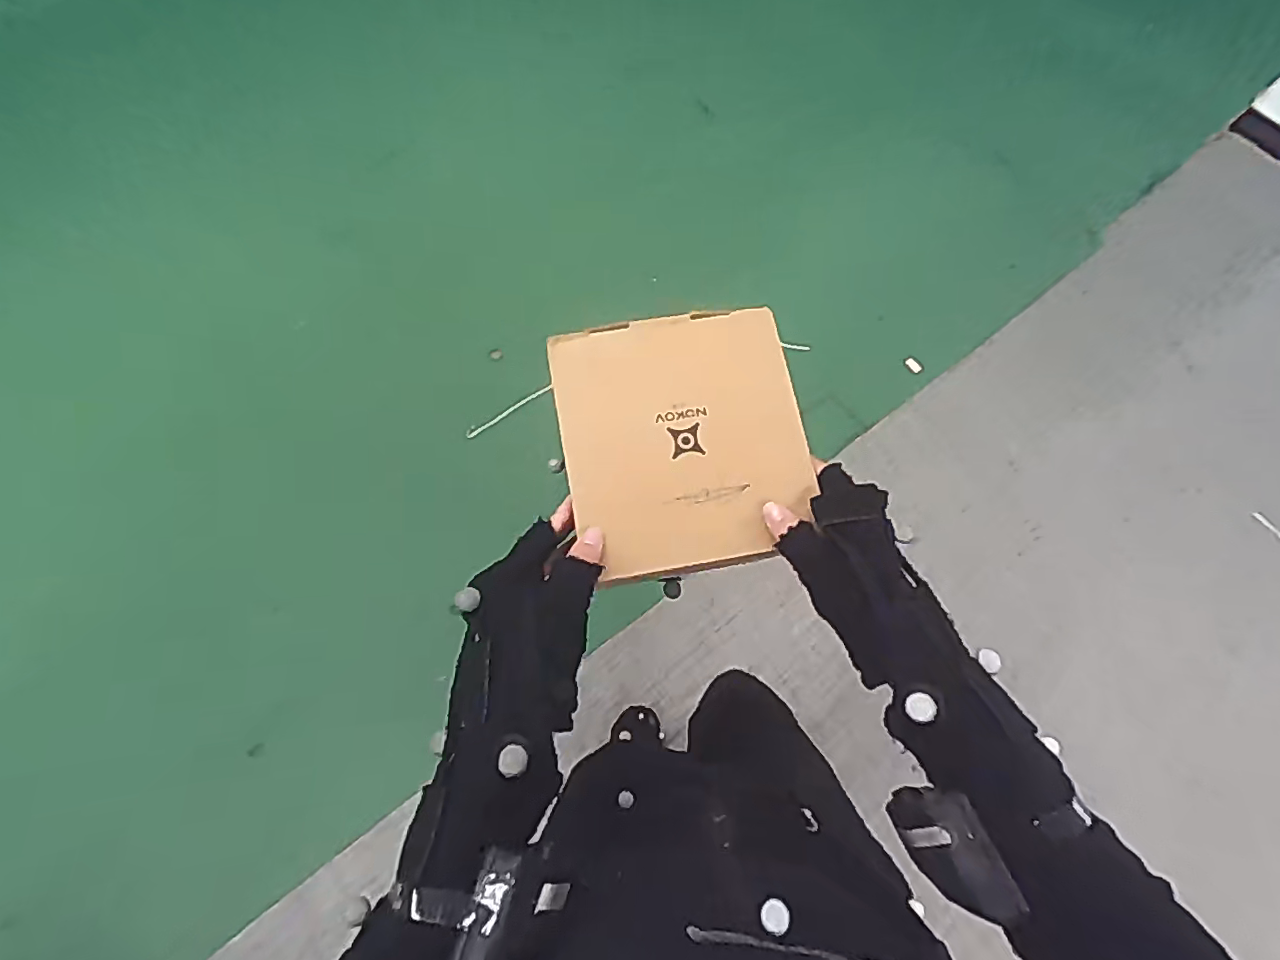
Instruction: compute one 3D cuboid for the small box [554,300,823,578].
[{"bbox_3d":[0.024,-0.021,0.451,0.168,0.176,0.179,-9,78,-5],"label":"small box"}]
